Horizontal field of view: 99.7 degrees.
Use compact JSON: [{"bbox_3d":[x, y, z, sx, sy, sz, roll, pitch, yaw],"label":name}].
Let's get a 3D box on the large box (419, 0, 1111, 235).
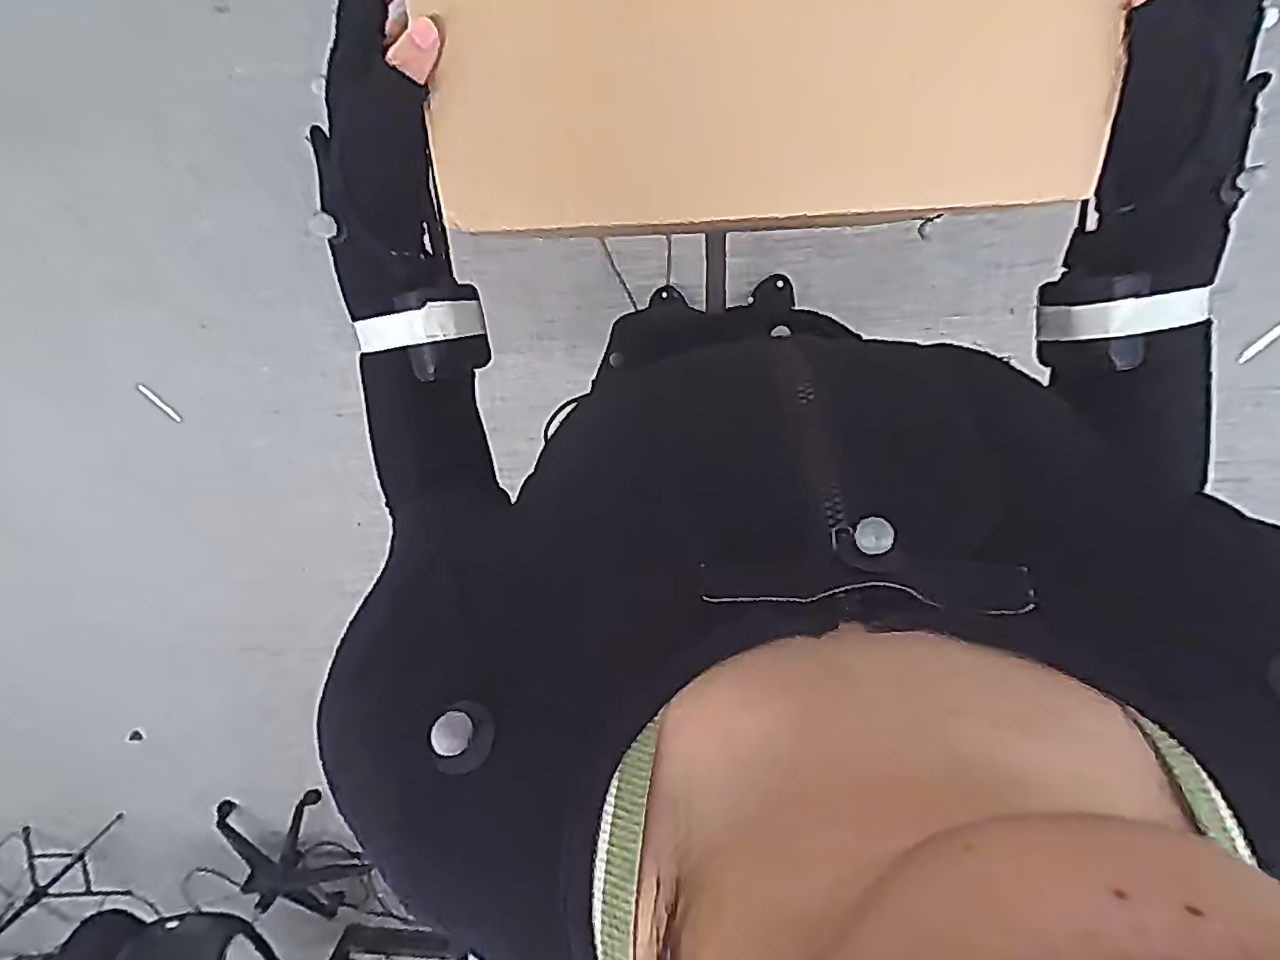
[{"bbox_3d":[0.072,-0.374,0.427,0.408,0.320,0.320,-2,113,1],"label":"large box"}]
